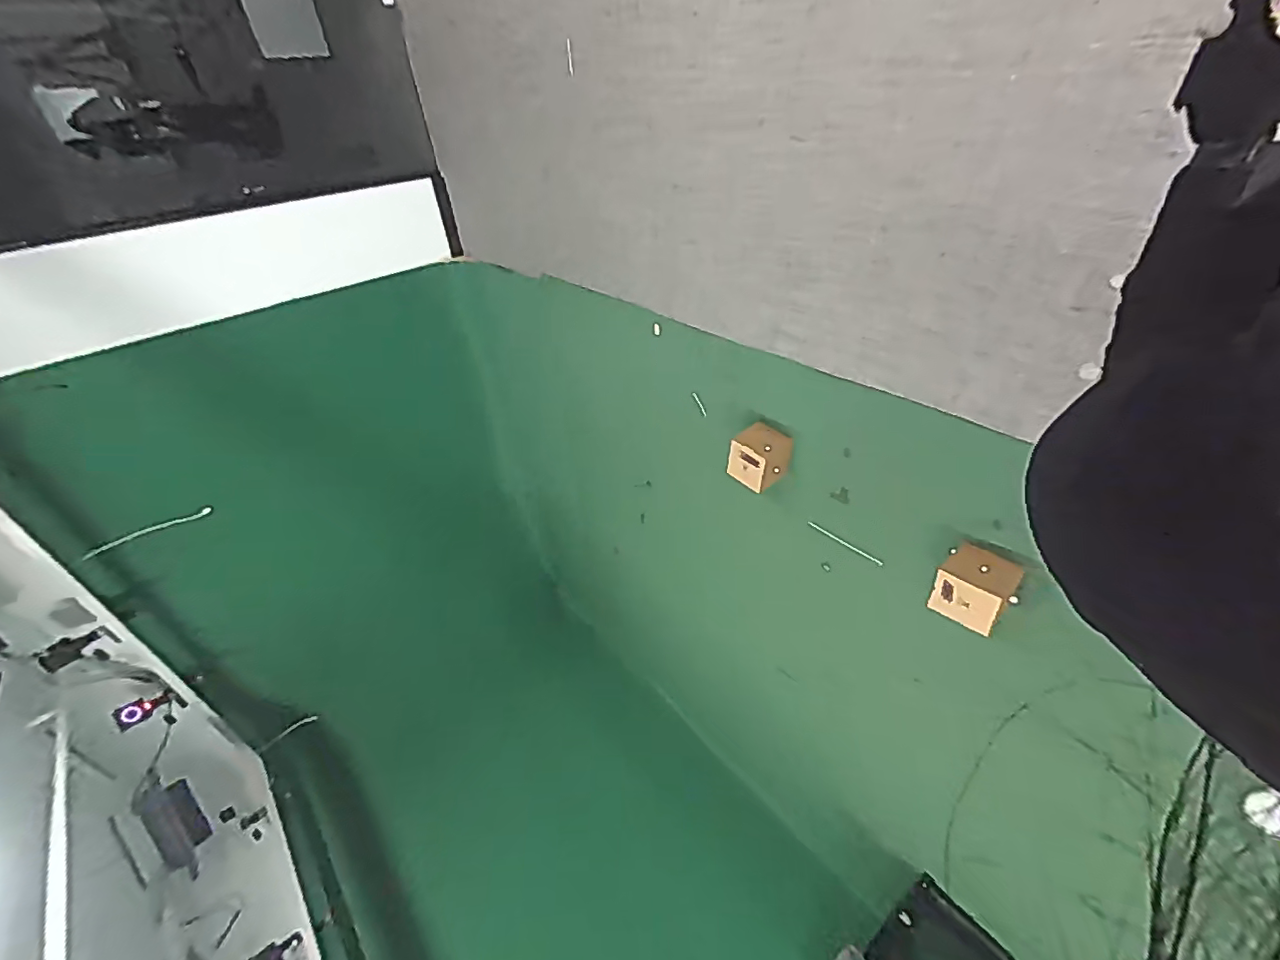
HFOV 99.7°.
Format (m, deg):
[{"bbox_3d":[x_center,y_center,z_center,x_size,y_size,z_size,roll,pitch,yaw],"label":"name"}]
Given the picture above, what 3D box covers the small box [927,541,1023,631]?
[{"bbox_3d":[1.005,0.309,1.627,0.179,0.176,0.168,30,139,39],"label":"small box"}]
